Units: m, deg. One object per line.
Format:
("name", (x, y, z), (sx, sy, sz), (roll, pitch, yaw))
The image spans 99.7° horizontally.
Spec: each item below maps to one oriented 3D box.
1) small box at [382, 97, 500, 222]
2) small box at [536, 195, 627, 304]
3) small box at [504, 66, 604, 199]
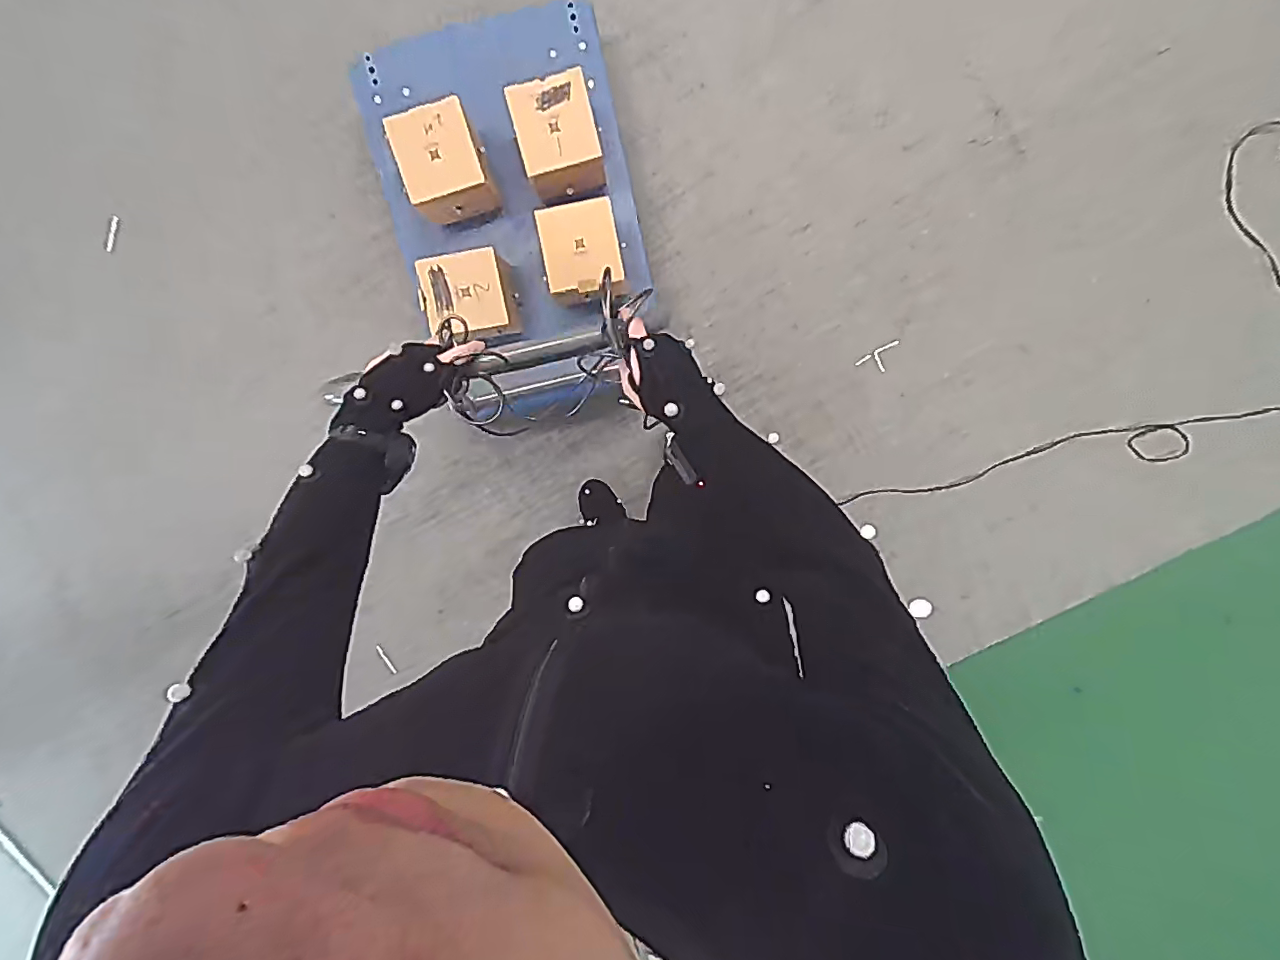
("small box", (-0.429, -0.695, 1.199), (0.168, 0.176, 0.179), (-17, 100, 2))
("small box", (-0.127, -0.517, 1.234), (0.168, 0.176, 0.179), (-12, 100, 3))
("small box", (-0.181, -0.752, 1.189), (0.168, 0.176, 0.179), (-14, 102, 3))
